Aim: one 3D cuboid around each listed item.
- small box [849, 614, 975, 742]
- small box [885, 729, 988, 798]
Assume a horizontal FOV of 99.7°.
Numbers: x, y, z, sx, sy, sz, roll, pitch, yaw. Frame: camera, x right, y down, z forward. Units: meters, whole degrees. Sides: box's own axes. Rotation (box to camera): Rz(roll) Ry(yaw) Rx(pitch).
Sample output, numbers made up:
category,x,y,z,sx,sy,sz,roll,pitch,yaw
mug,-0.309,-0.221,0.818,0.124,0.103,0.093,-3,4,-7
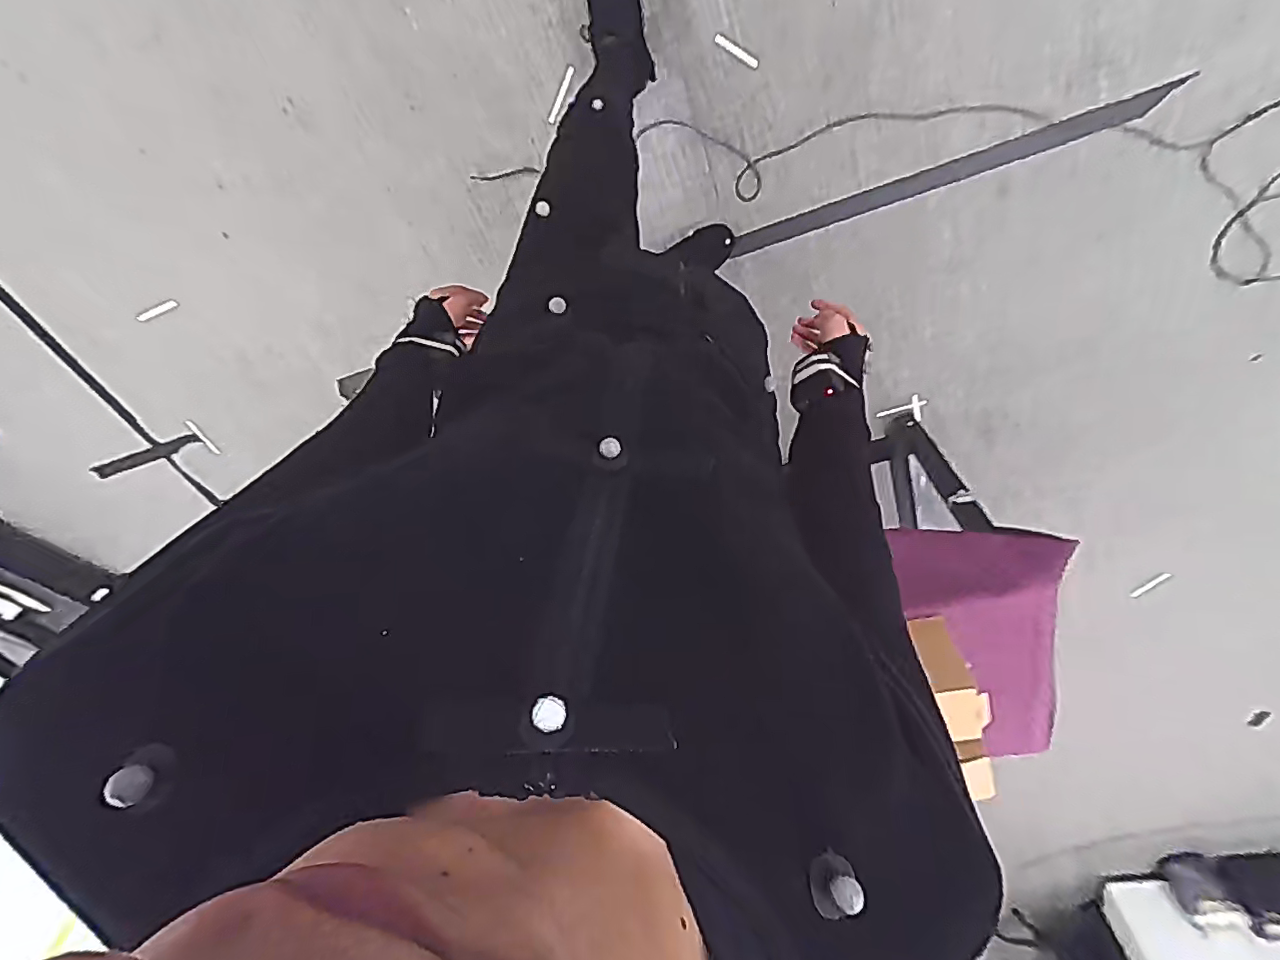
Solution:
category,x,y,z,sx,sy,sz,roll,pitch,yaw
small box,0.540,0.392,1.083,0.179,0.176,0.168,-16,122,15
small box,0.640,0.575,1.206,0.179,0.176,0.168,-18,122,16
